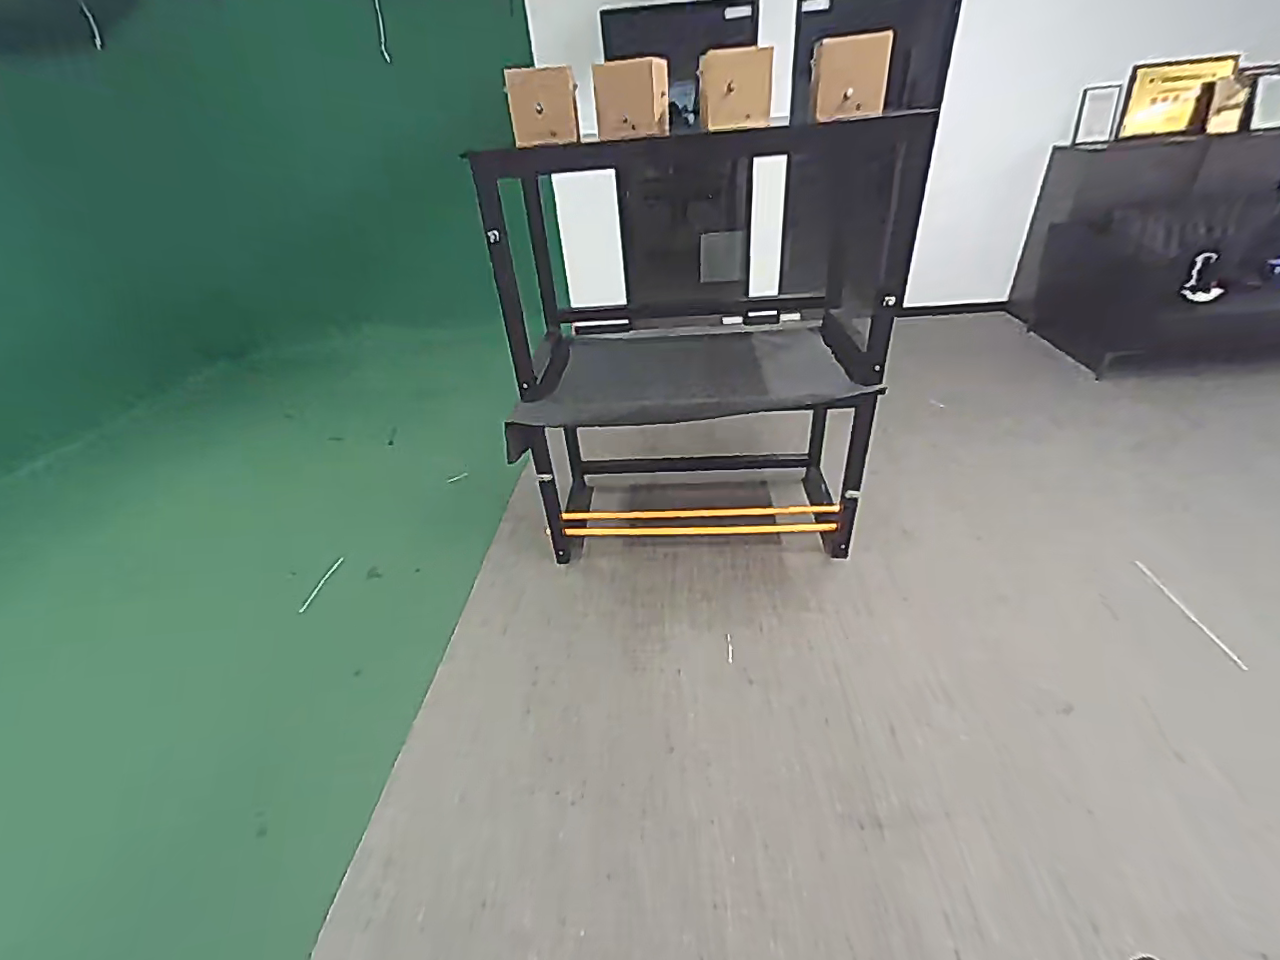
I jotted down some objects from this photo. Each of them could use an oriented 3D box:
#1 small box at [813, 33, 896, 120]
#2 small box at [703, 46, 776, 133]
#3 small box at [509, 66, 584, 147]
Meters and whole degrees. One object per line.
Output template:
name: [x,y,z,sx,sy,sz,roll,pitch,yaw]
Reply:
small box: [0.554,-1.052,1.421,0.168,0.176,0.179,1,35,10]
small box: [0.261,-1.037,1.443,0.168,0.176,0.179,-5,34,1]
small box: [-0.251,-1.028,1.495,0.168,0.176,0.179,-3,34,1]
